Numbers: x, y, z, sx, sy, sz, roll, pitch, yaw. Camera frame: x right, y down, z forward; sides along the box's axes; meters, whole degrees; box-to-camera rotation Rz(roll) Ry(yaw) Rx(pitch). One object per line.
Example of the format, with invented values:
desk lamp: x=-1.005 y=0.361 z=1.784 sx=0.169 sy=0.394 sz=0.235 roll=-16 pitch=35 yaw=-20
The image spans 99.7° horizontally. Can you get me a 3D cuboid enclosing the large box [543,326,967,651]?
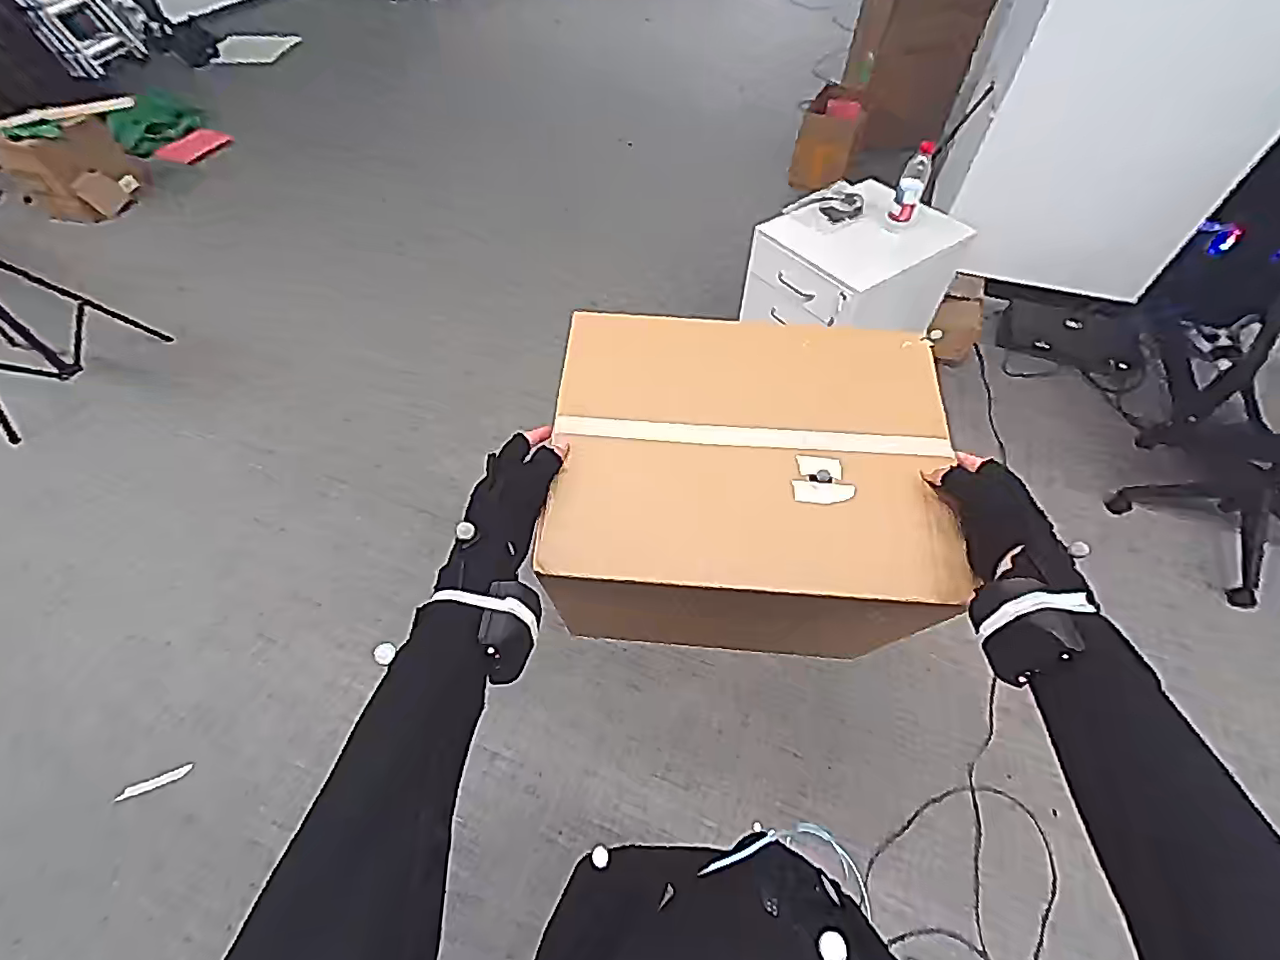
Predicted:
large box: x=0.111 y=0.030 z=0.700 sx=0.408 sy=0.320 sz=0.320 roll=4 pitch=64 yaw=1
